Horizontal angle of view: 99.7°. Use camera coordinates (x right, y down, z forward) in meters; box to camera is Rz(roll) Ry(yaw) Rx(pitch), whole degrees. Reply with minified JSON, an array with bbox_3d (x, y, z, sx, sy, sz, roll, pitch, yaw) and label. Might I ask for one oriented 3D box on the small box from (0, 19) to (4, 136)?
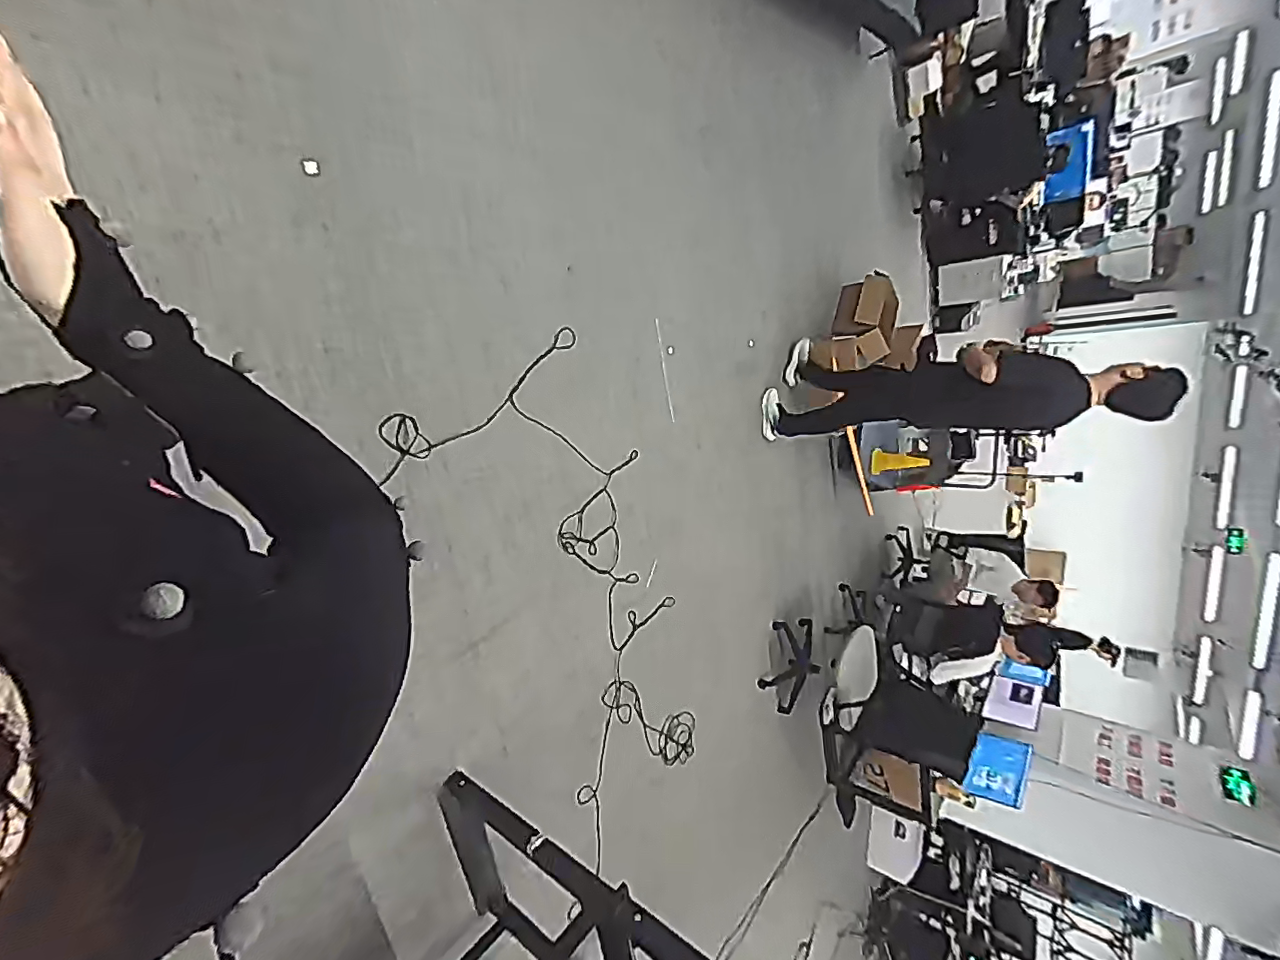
[{"bbox_3d":[-0.407,-0.261,0.226,0.179,0.176,0.168,-6,96,-48],"label":"small box"}]
